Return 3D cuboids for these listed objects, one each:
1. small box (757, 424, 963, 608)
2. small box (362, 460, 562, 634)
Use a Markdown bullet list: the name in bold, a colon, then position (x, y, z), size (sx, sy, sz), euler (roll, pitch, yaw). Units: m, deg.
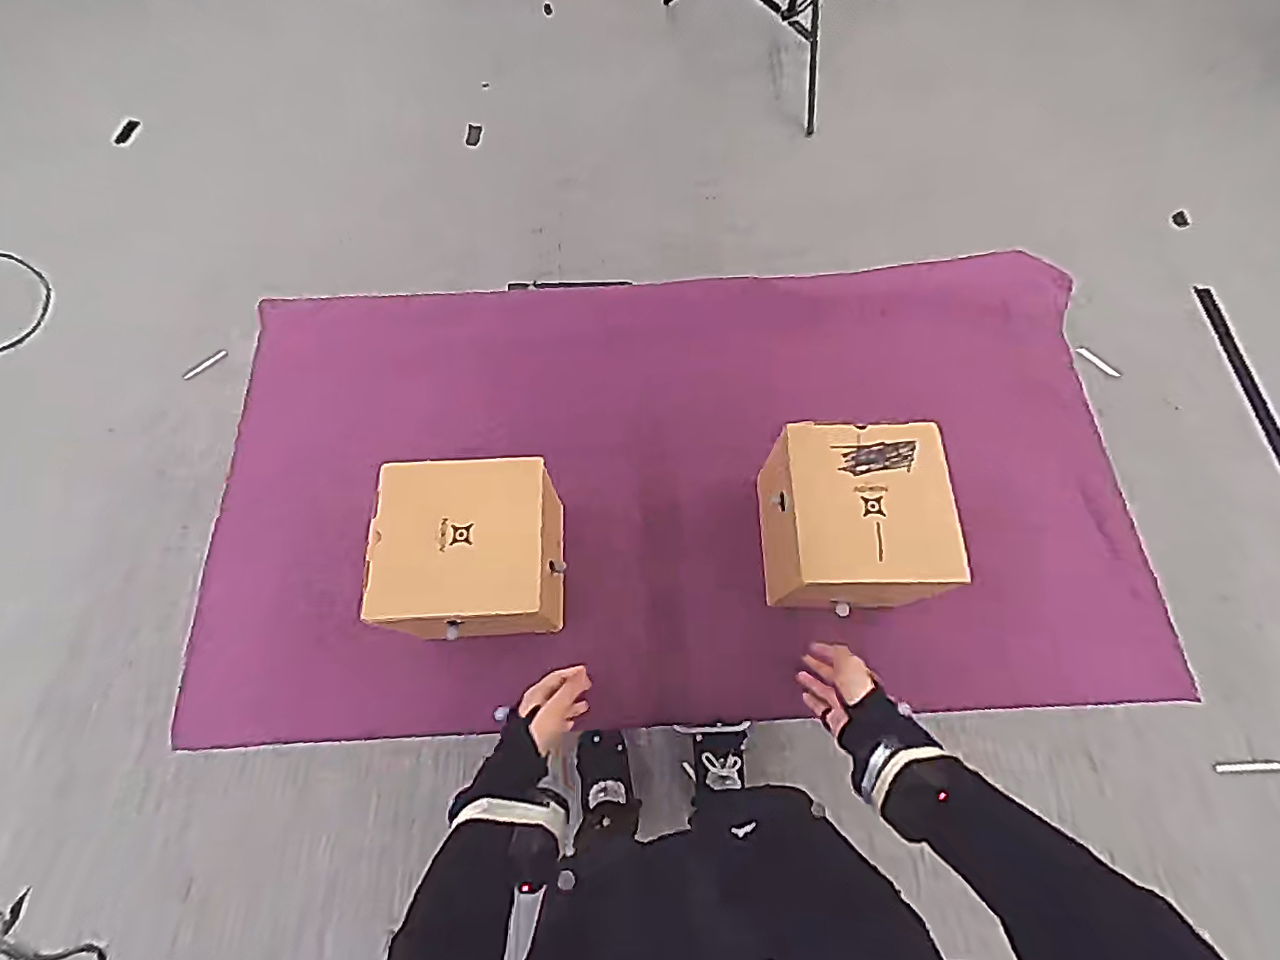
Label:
- **small box**: position (0.236, 0.049, 0.633), size (0.168, 0.176, 0.179), euler (0, 70, 1)
- **small box**: position (-0.186, 0.085, 0.627), size (0.179, 0.176, 0.168), euler (-3, 69, 0)
